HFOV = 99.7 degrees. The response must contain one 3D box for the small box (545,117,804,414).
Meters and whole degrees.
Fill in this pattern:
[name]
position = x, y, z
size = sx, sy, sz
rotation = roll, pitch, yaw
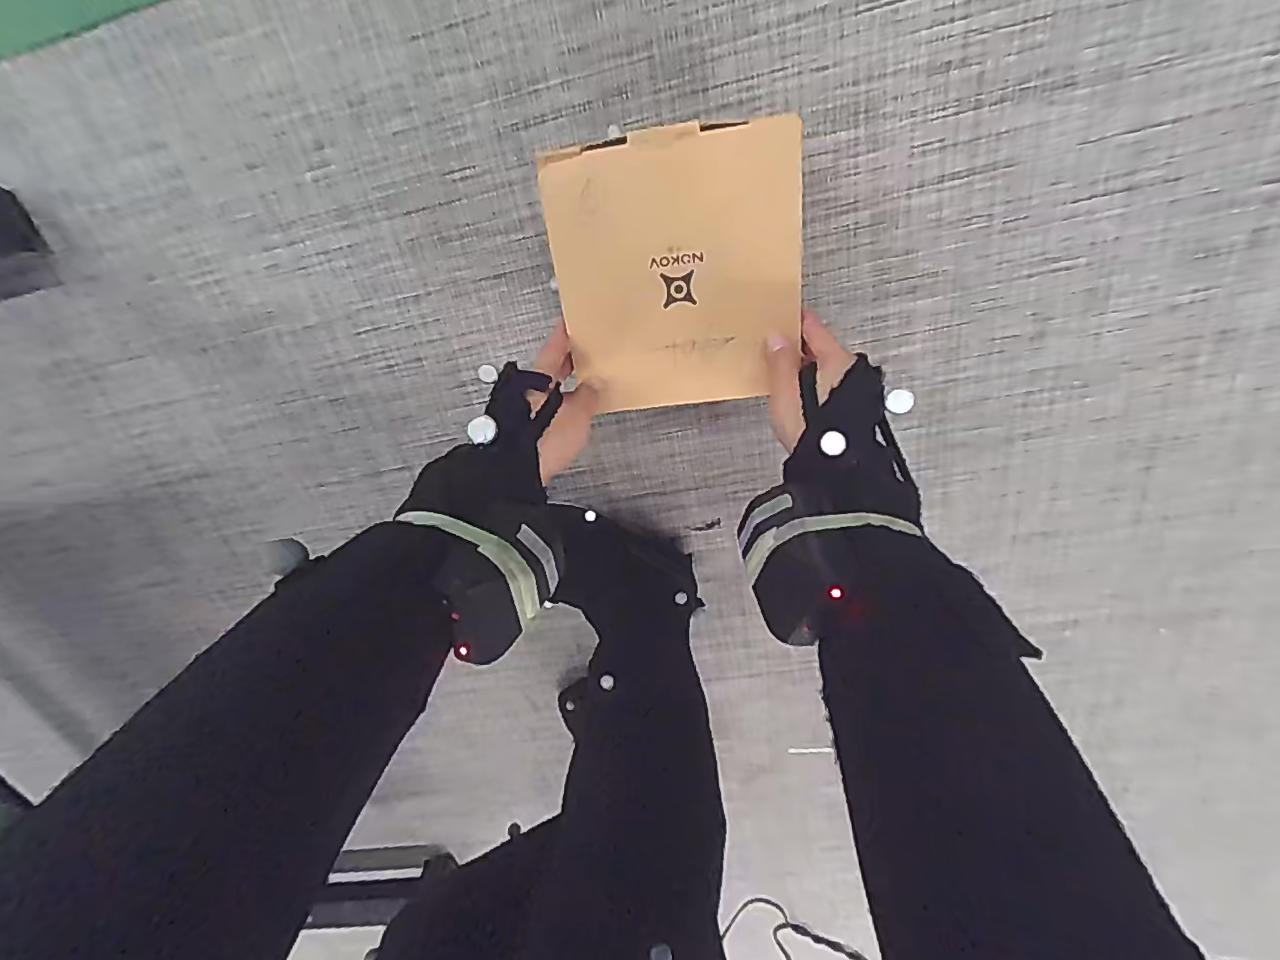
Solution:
[small box]
position = 0.034, -0.171, 0.442
size = 0.168, 0.176, 0.179
rotation = -6, 118, 7
